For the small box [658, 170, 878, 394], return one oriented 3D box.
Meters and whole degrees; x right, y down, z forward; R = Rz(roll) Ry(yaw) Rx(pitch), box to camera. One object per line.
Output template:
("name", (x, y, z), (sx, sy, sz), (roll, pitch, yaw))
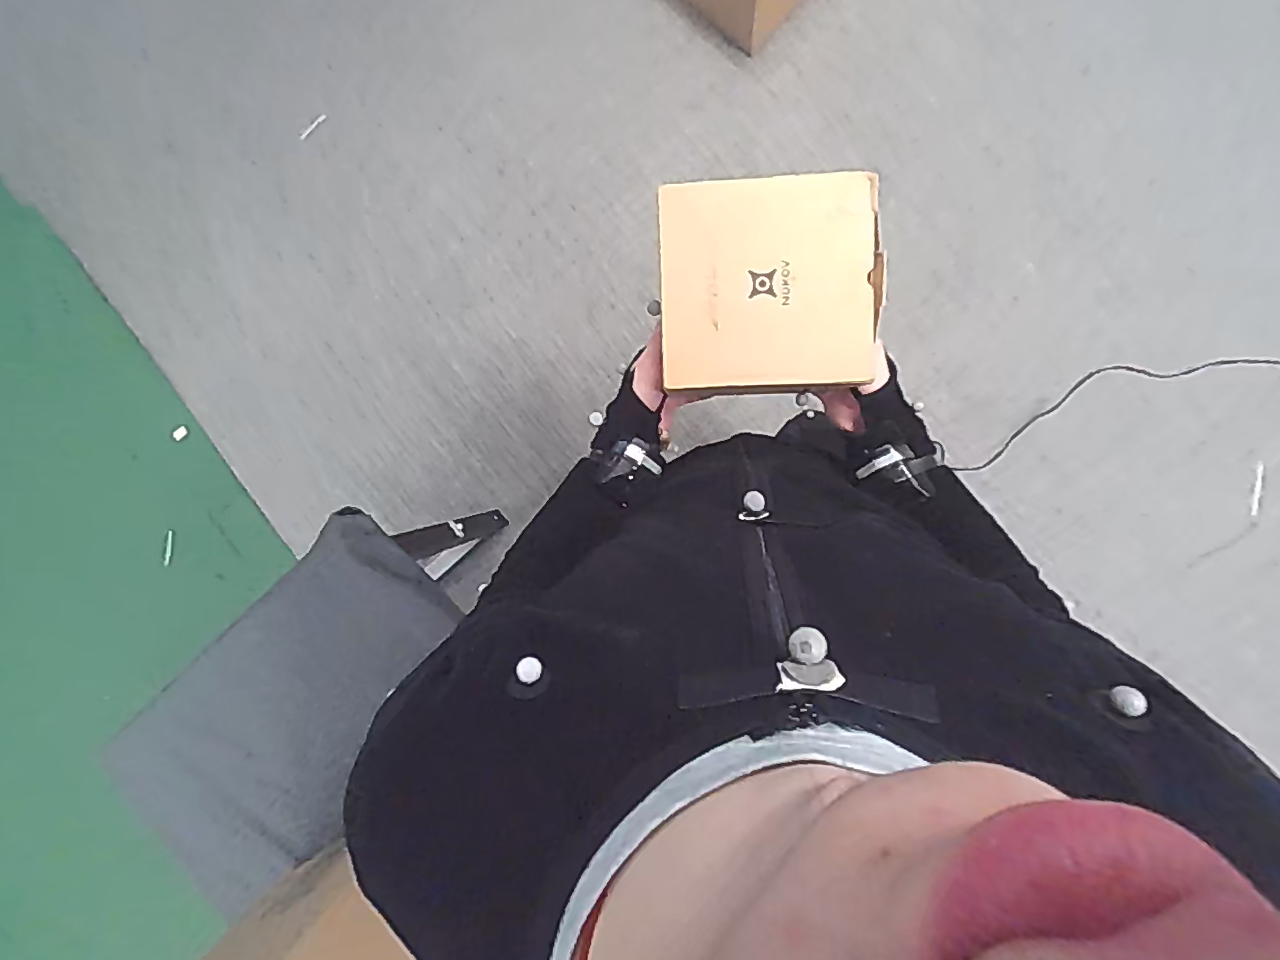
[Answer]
("small box", (0.109, -0.171, 0.518), (0.179, 0.176, 0.168), (-1, 96, 5))
